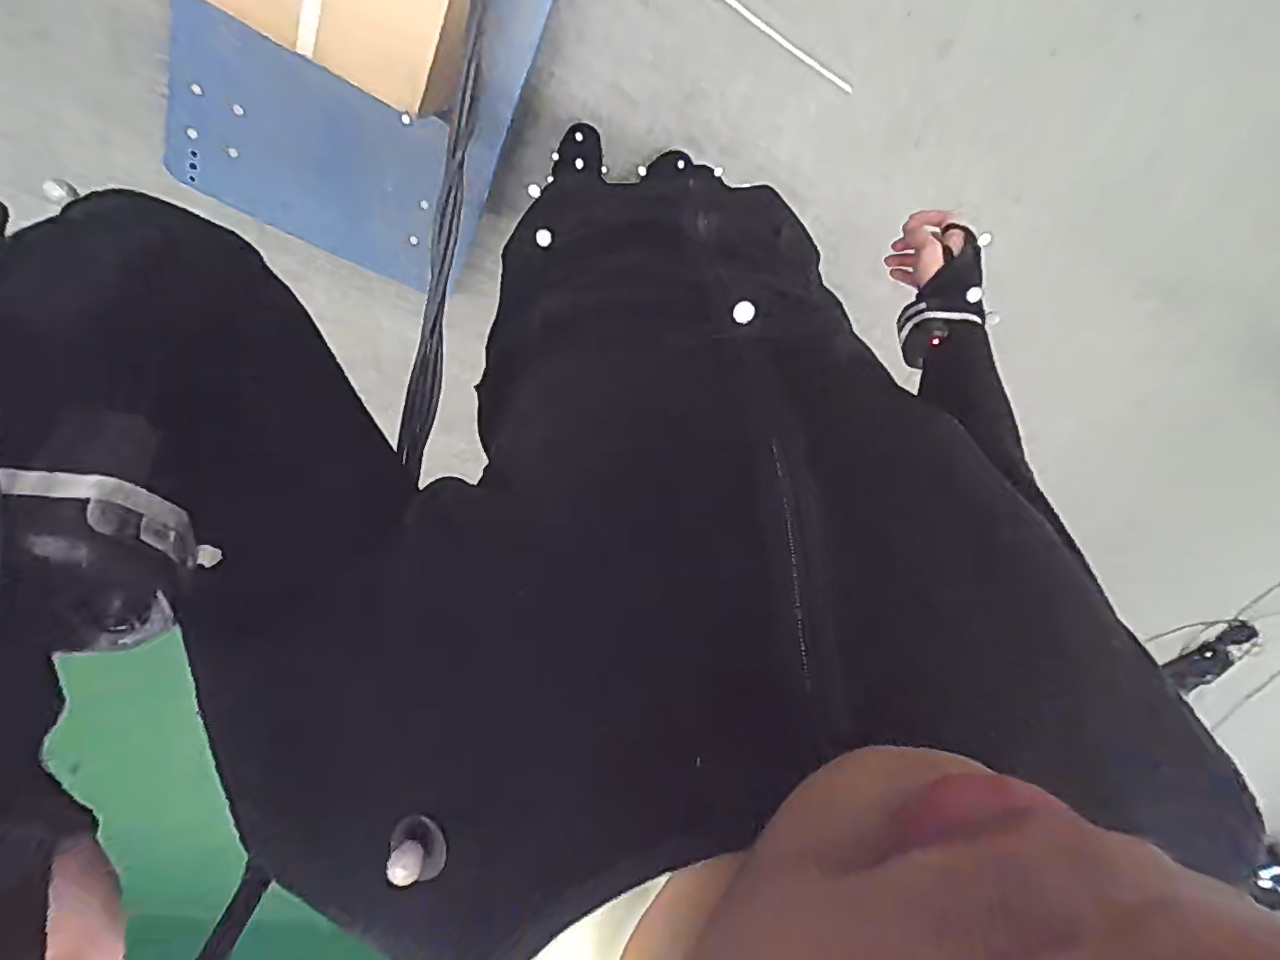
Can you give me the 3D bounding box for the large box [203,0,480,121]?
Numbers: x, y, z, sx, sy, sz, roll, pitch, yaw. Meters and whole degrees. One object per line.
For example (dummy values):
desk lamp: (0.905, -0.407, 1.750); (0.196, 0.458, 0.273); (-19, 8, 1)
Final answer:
large box: (-0.395, -0.840, 0.801); (0.320, 0.320, 0.408); (22, 121, -22)
